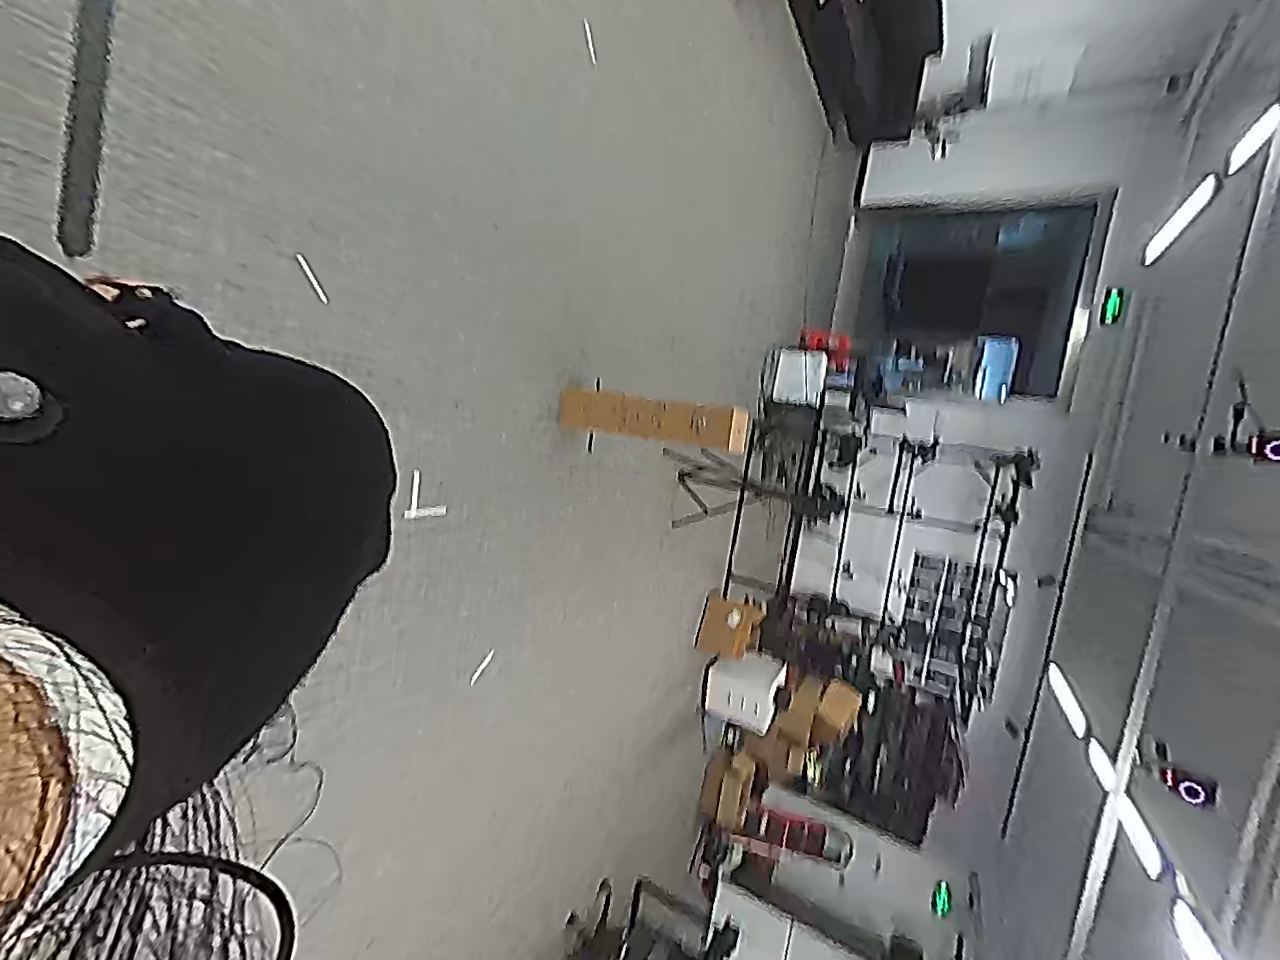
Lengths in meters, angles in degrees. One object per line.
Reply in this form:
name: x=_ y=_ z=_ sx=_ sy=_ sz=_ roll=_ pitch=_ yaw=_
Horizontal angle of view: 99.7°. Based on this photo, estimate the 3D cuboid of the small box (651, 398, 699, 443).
small box: x=0.161 y=-0.243 z=2.224 sx=0.179 sy=0.176 sz=0.168 roll=1 pitch=98 yaw=-62

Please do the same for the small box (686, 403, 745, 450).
small box: x=0.300 y=-0.214 z=2.147 sx=0.179 sy=0.176 sz=0.168 roll=-2 pitch=100 yaw=-60

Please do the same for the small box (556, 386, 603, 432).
small box: x=-0.265 y=-0.322 z=2.457 sx=0.168 sy=0.176 sz=0.179 roll=-1 pitch=100 yaw=-61

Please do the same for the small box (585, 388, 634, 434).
small box: x=-0.124 y=-0.302 z=2.375 sx=0.168 sy=0.176 sz=0.179 roll=5 pitch=95 yaw=-61

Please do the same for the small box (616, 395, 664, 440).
small box: x=0.017 y=-0.267 z=2.301 sx=0.179 sy=0.176 sz=0.168 roll=3 pitch=97 yaw=-60
